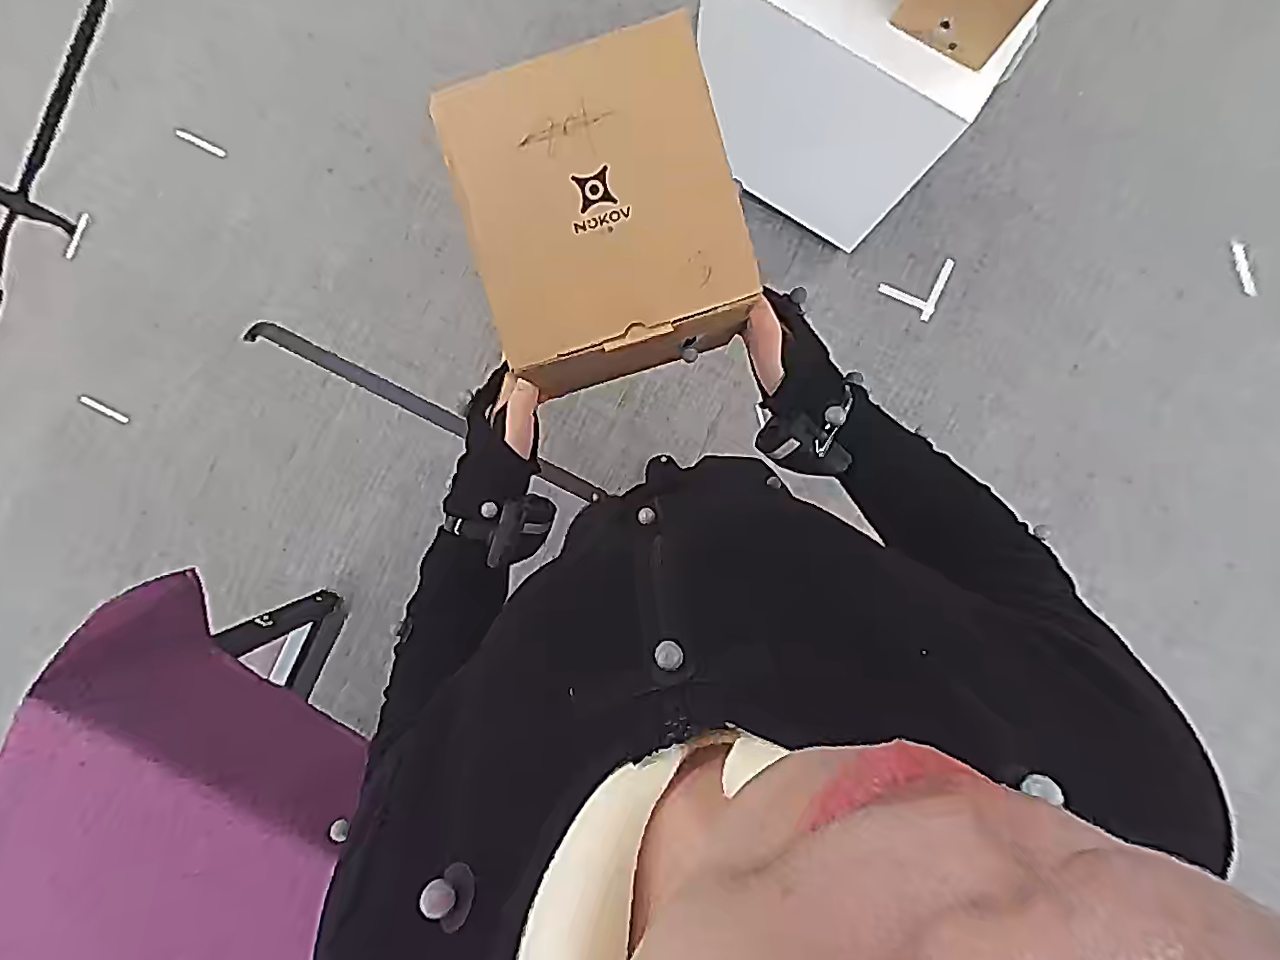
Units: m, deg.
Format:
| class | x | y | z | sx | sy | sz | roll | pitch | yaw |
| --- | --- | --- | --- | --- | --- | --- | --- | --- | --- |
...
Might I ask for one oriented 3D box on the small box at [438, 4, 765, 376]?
| class | x | y | z | sx | sy | sz | roll | pitch | yaw |
| --- | --- | --- | --- | --- | --- | --- | --- | --- | --- |
| small box | -0.020 | -0.183 | 0.406 | 0.168 | 0.176 | 0.179 | -15 | 94 | 2 |
